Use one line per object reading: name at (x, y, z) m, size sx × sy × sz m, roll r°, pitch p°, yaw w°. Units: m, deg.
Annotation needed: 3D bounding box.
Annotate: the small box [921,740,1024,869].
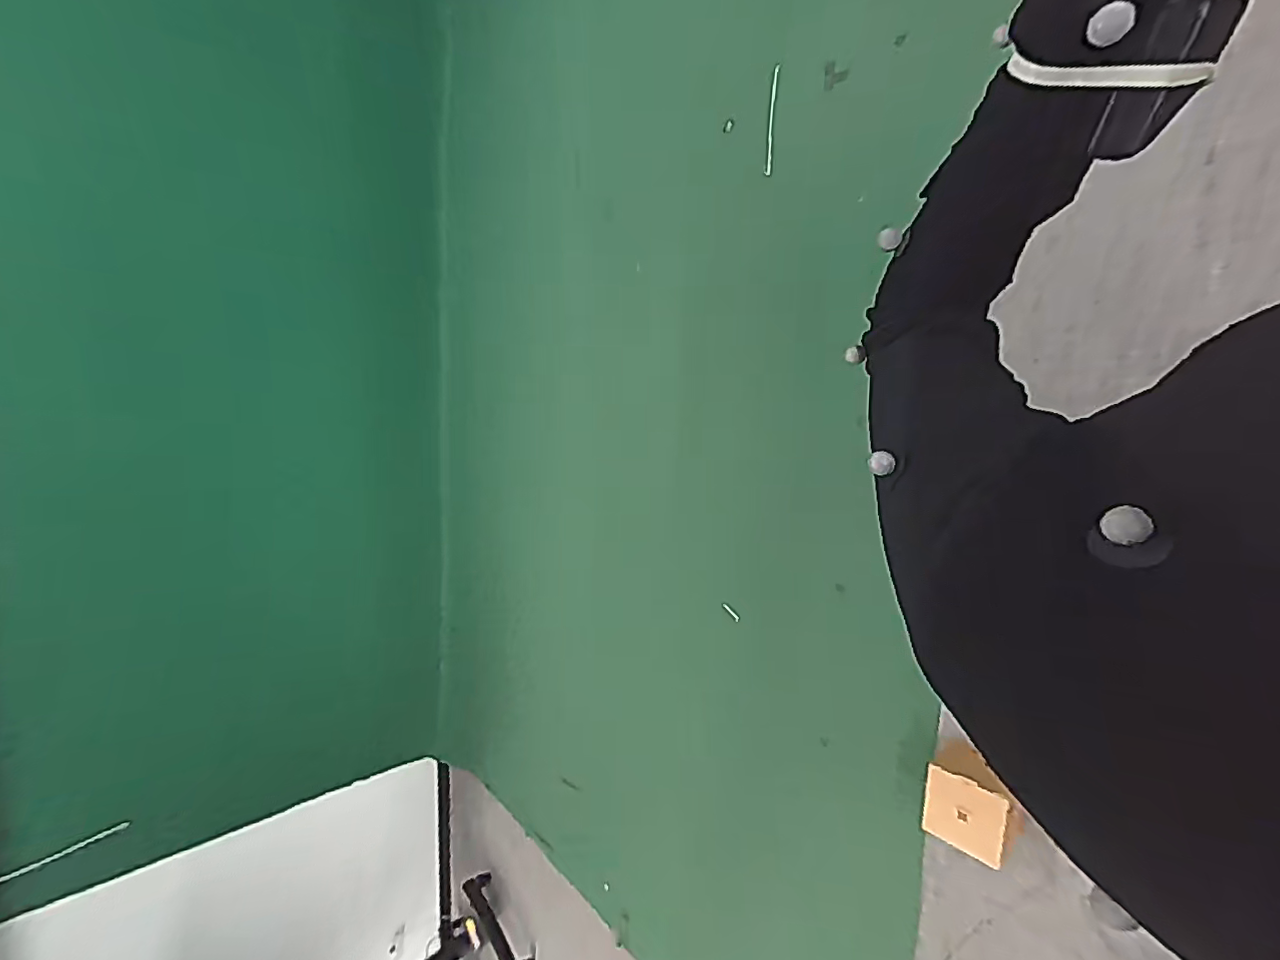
small box at (0.799, 0.766, 1.297) m, size 0.168 × 0.176 × 0.179 m, roll 9°, pitch 99°, yaw 46°
